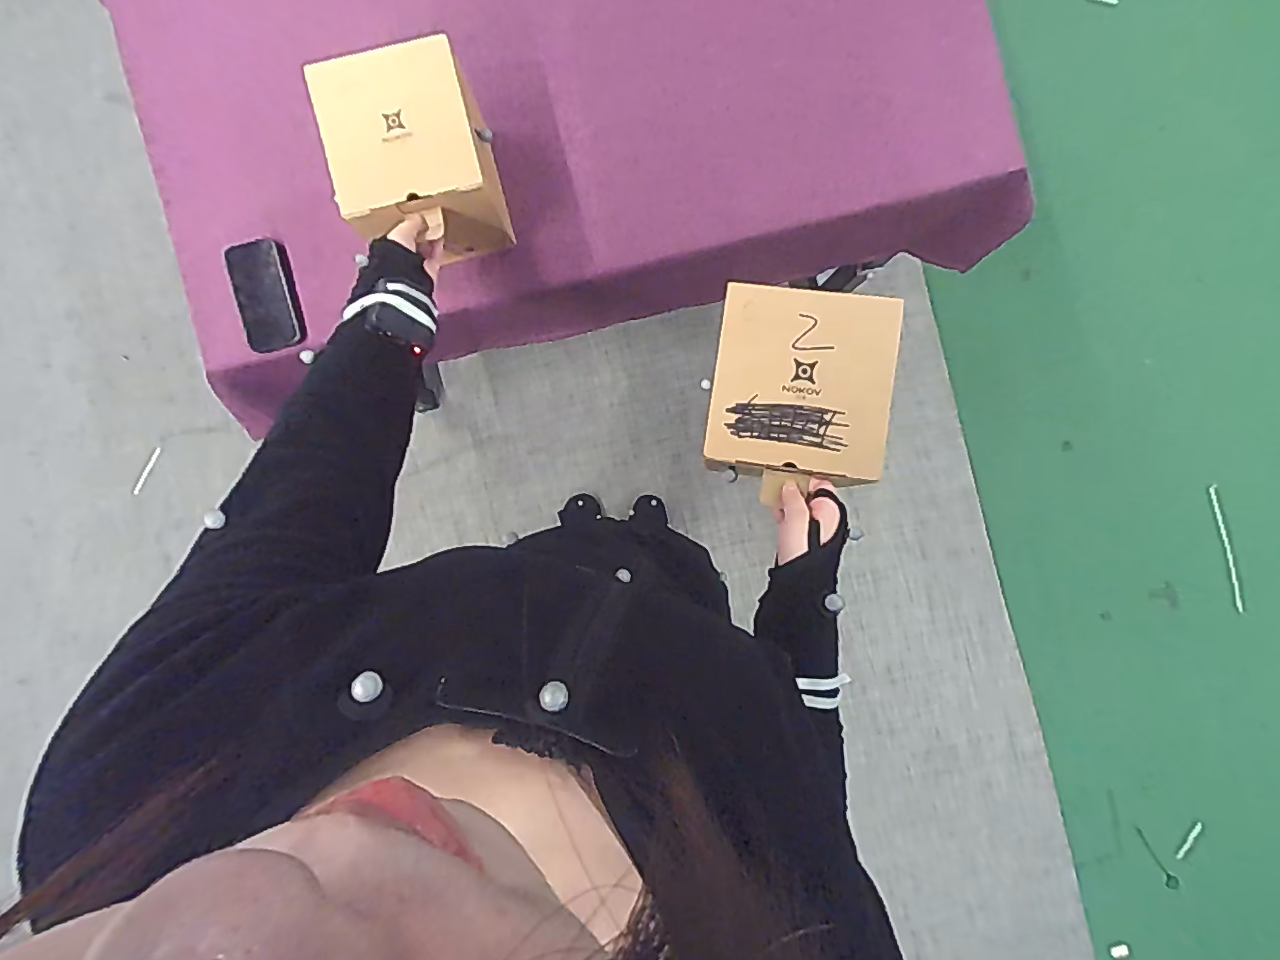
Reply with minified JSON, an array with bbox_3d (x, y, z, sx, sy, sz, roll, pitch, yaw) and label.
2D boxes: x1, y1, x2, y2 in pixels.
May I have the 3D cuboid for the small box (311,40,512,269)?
[{"bbox_3d":[-0.277,-0.399,0.692,0.168,0.176,0.179,-14,92,-1],"label":"small box"}]
